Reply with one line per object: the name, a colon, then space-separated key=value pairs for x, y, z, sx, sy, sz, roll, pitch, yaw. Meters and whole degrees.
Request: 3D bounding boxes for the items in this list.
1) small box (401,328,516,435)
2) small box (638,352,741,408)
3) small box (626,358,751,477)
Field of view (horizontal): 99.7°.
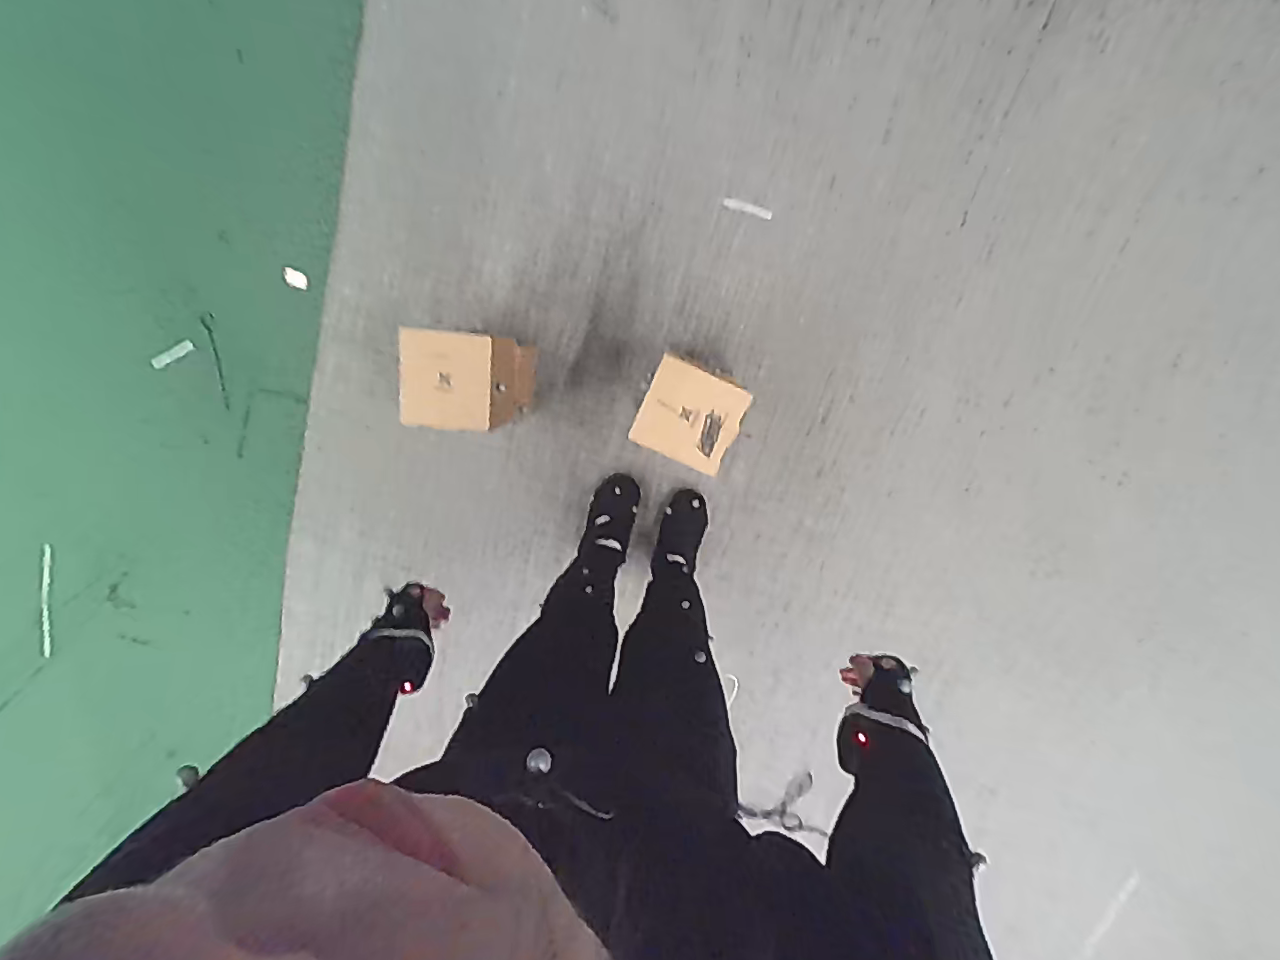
small box: x=-0.344 y=-0.193 z=1.049 sx=0.168 sy=0.176 sz=0.179 roll=6 pitch=103 yaw=1
small box: x=0.101 y=-0.177 z=1.199 sx=0.179 sy=0.176 sz=0.168 roll=23 pitch=103 yaw=-3
small box: x=0.090 y=-0.130 z=1.041 sx=0.179 sy=0.176 sz=0.168 roll=25 pitch=104 yaw=-2
